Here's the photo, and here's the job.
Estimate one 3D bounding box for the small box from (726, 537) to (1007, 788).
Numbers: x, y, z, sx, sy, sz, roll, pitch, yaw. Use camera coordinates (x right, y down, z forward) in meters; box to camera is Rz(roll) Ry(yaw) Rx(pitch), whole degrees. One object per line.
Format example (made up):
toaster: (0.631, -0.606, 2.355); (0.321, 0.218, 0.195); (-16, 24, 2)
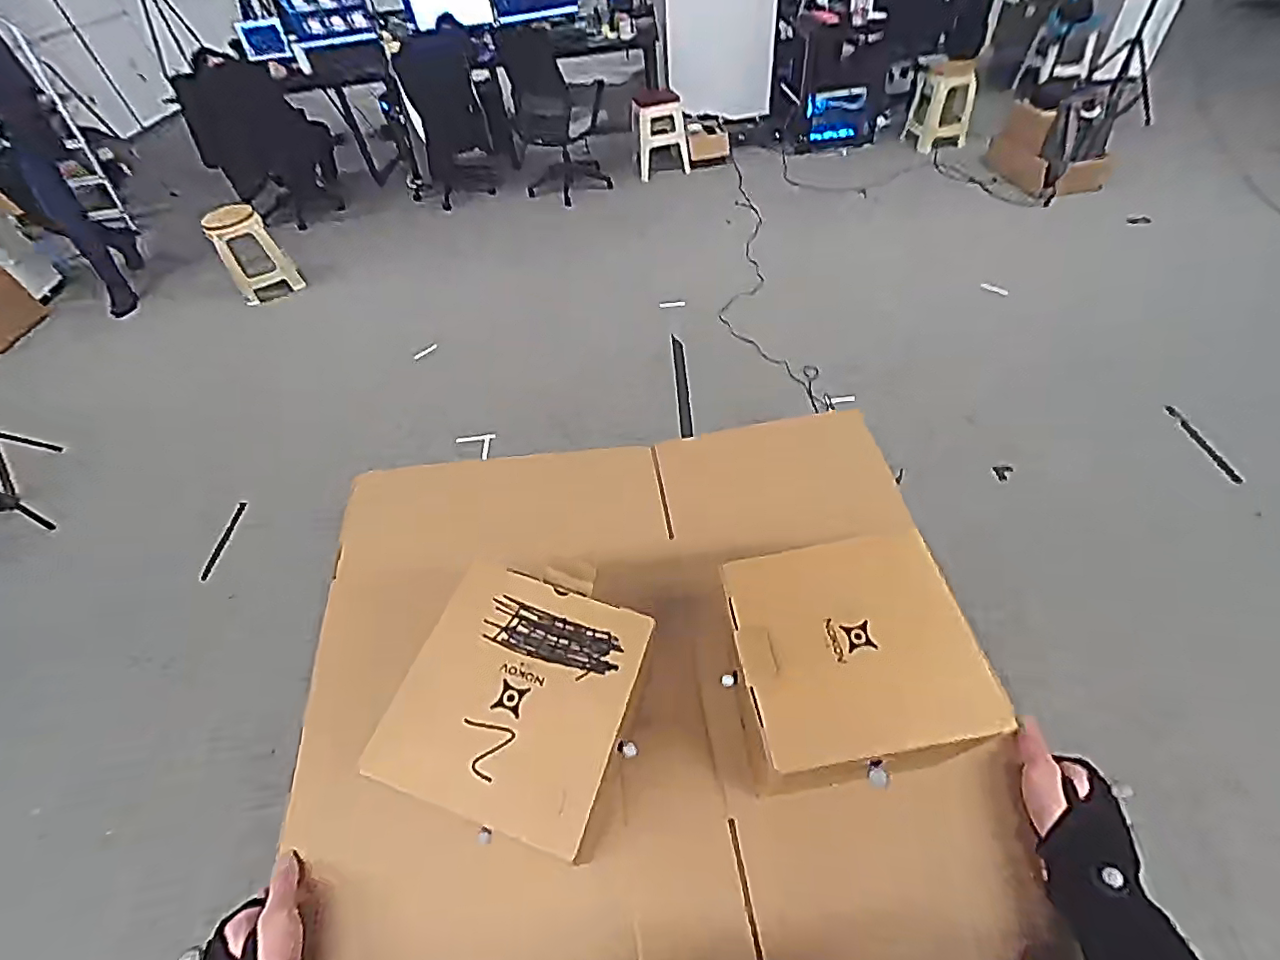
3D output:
small box: (0.182, 0.175, 0.504); (0.179, 0.176, 0.168); (-11, 54, 1)
